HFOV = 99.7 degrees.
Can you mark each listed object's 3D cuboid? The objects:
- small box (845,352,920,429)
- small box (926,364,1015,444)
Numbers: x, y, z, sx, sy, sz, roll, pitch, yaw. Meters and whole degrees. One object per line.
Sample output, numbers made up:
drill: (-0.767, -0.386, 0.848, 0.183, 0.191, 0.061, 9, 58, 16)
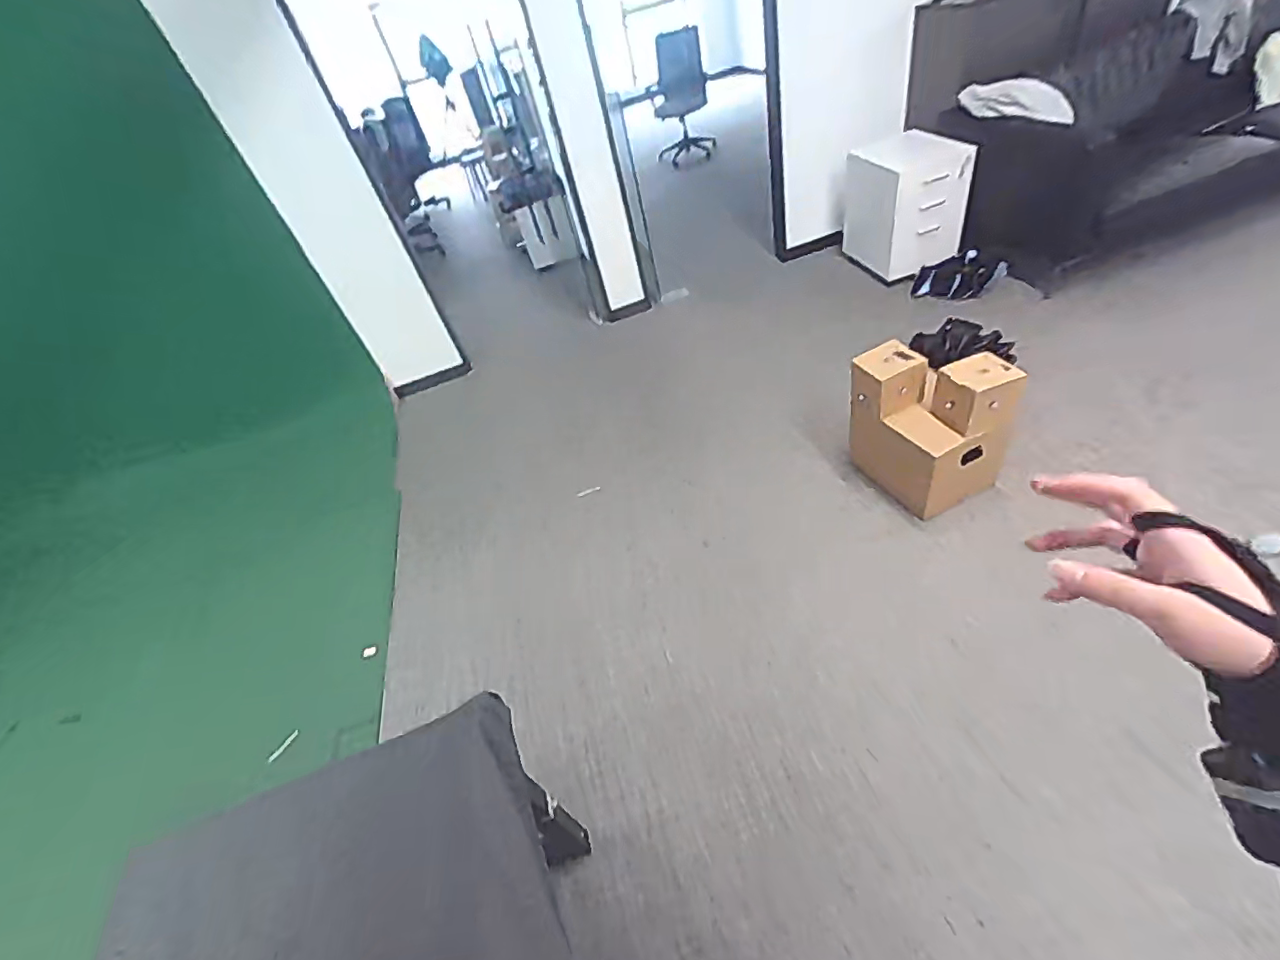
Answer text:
small box: (0.828, -0.309, 1.867, 0.179, 0.176, 0.168, -24, 42, -5)
small box: (1.042, -0.239, 1.723, 0.179, 0.176, 0.168, -20, 41, -6)
